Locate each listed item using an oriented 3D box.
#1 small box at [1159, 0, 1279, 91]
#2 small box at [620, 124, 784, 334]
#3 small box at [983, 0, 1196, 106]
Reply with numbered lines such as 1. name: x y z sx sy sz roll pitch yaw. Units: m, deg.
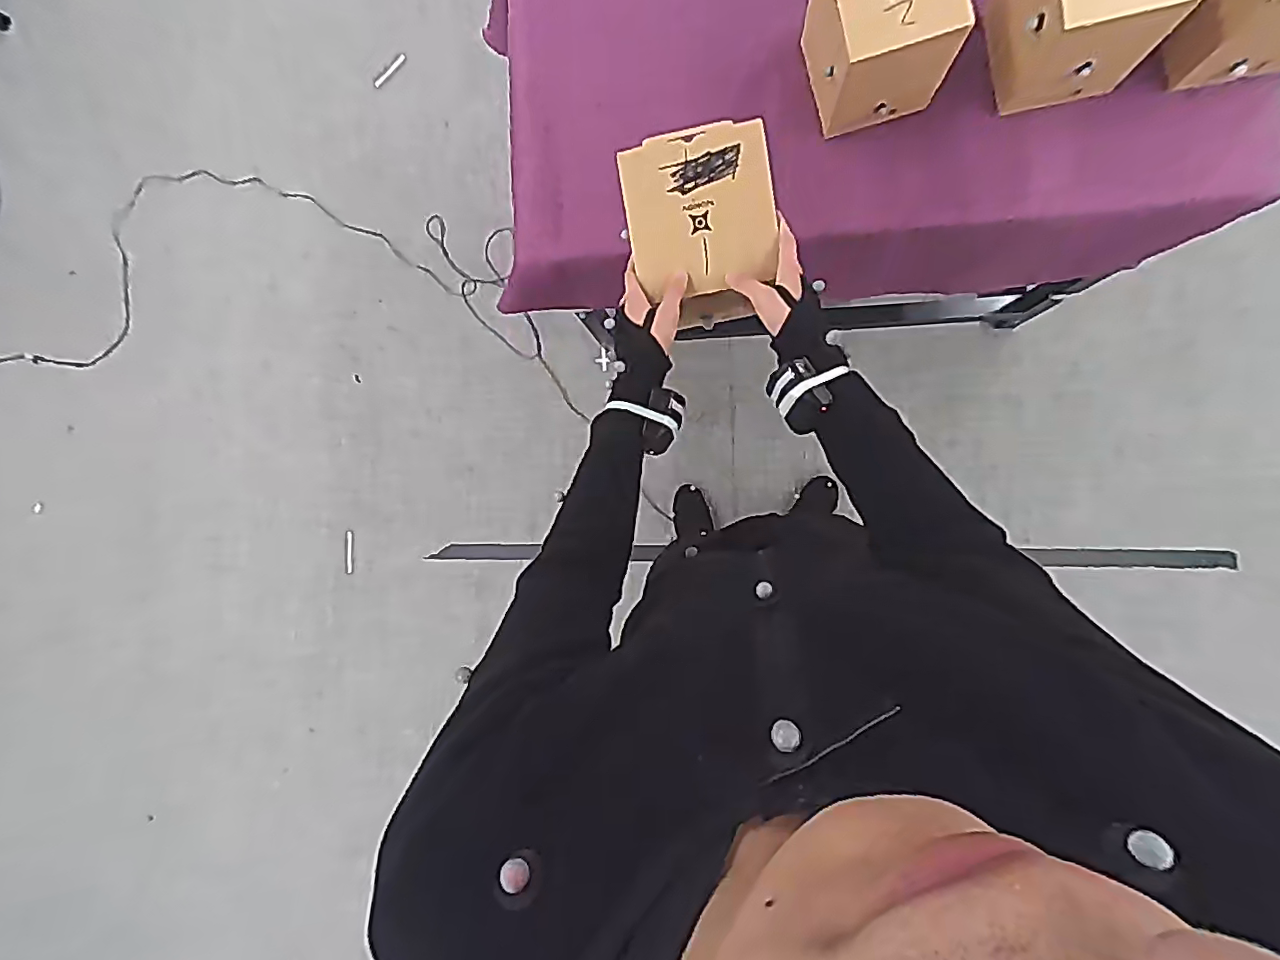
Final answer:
1. small box: 0.863 -0.689 0.741 0.168 0.176 0.179 -6 88 9
2. small box: 0.077 -0.299 0.683 0.168 0.176 0.179 -9 94 8
3. small box: 0.626 -0.676 0.773 0.168 0.176 0.179 -8 88 7
